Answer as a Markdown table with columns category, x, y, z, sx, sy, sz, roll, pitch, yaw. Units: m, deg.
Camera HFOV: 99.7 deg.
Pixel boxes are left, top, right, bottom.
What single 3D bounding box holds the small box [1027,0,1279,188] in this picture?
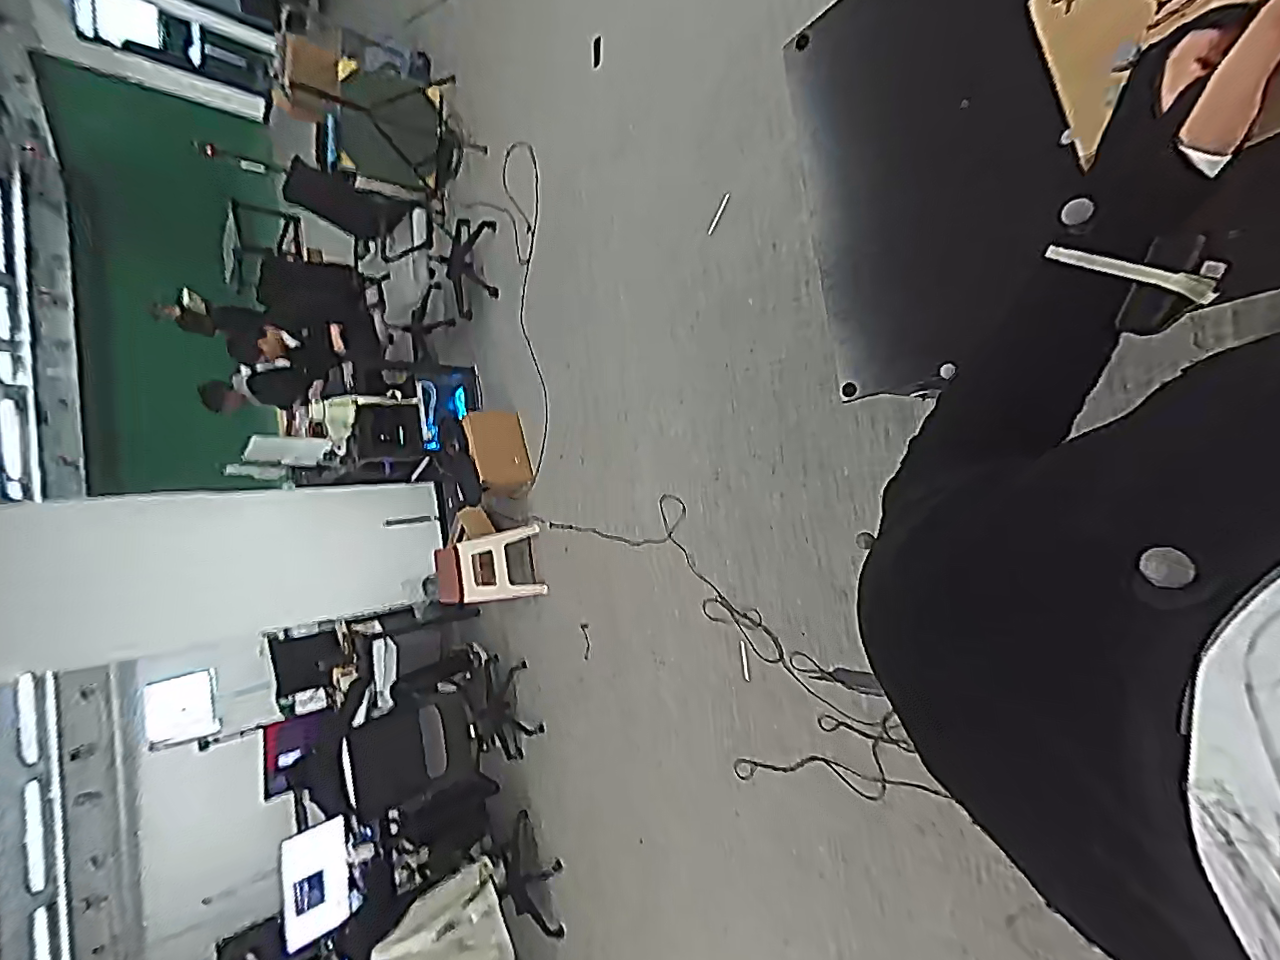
| category | x | y | z | sx | sy | sz | roll | pitch | yaw |
| --- | --- | --- | --- | --- | --- | --- | --- | --- | --- |
| small box | 0.502 | -0.405 | 0.504 | 0.168 | 0.176 | 0.179 | -19 | 79 | 48 |
